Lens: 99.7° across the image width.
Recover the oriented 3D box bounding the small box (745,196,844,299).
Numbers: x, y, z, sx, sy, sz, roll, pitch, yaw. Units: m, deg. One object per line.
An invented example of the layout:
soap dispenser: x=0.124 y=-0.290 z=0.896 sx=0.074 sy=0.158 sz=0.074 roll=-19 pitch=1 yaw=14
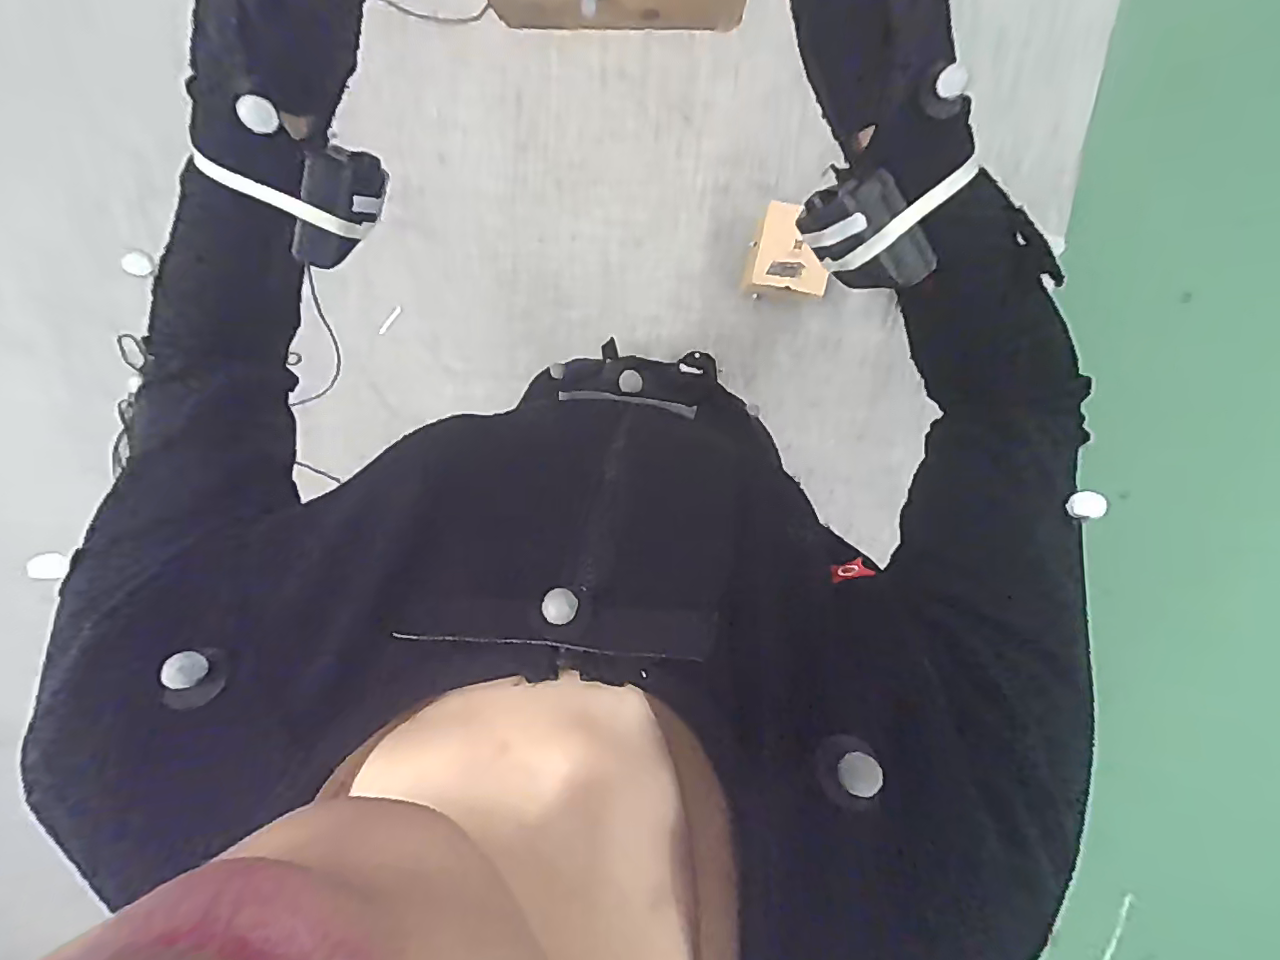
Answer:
small box: x=0.347 y=-0.526 z=1.251 sx=0.168 sy=0.176 sz=0.179 roll=11 pitch=103 yaw=1
